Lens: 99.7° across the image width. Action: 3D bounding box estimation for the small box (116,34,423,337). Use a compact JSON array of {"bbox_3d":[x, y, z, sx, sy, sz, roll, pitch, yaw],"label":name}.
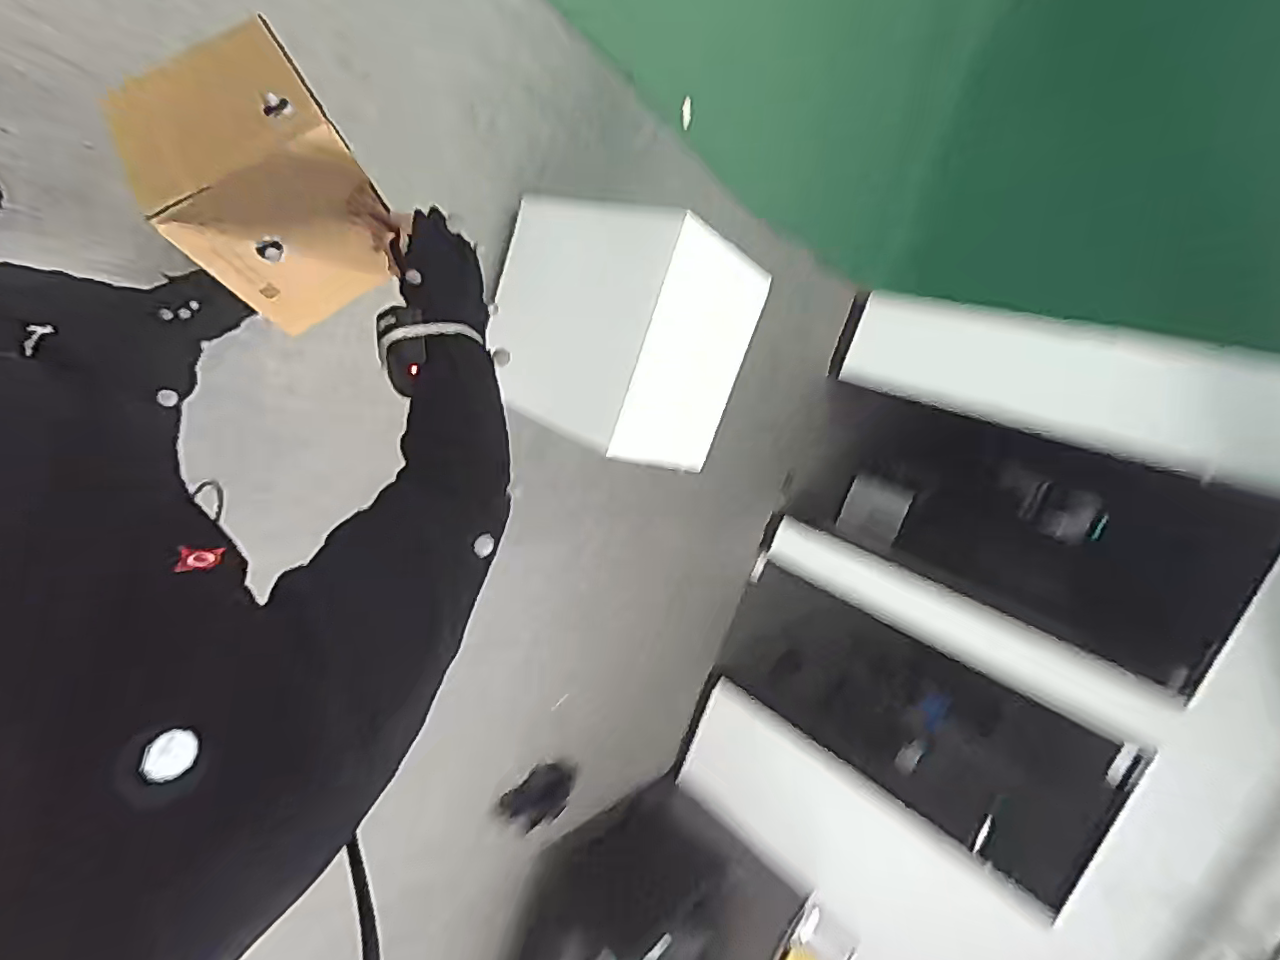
[{"bbox_3d":[-0.361,-0.283,0.543,0.176,0.179,0.168,-32,163,-7],"label":"small box"}]
